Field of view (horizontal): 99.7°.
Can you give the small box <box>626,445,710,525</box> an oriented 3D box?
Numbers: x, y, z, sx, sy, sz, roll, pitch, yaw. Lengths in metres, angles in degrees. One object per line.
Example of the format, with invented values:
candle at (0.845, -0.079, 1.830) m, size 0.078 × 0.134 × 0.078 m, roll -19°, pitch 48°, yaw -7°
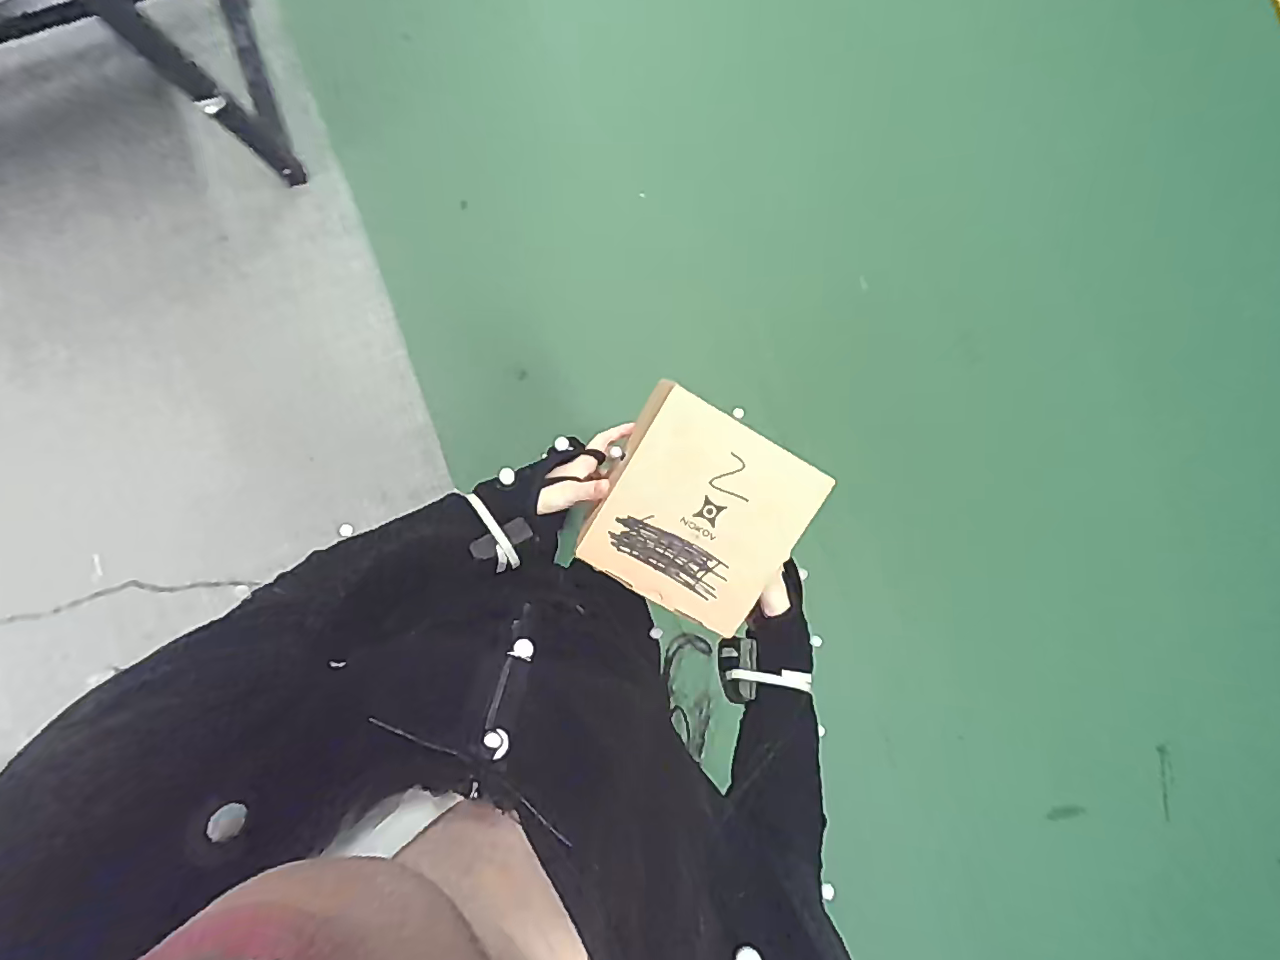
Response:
small box at (0.067, 0.010, 1.417) m, size 0.179 × 0.176 × 0.168 m, roll -17°, pitch 90°, yaw 0°
